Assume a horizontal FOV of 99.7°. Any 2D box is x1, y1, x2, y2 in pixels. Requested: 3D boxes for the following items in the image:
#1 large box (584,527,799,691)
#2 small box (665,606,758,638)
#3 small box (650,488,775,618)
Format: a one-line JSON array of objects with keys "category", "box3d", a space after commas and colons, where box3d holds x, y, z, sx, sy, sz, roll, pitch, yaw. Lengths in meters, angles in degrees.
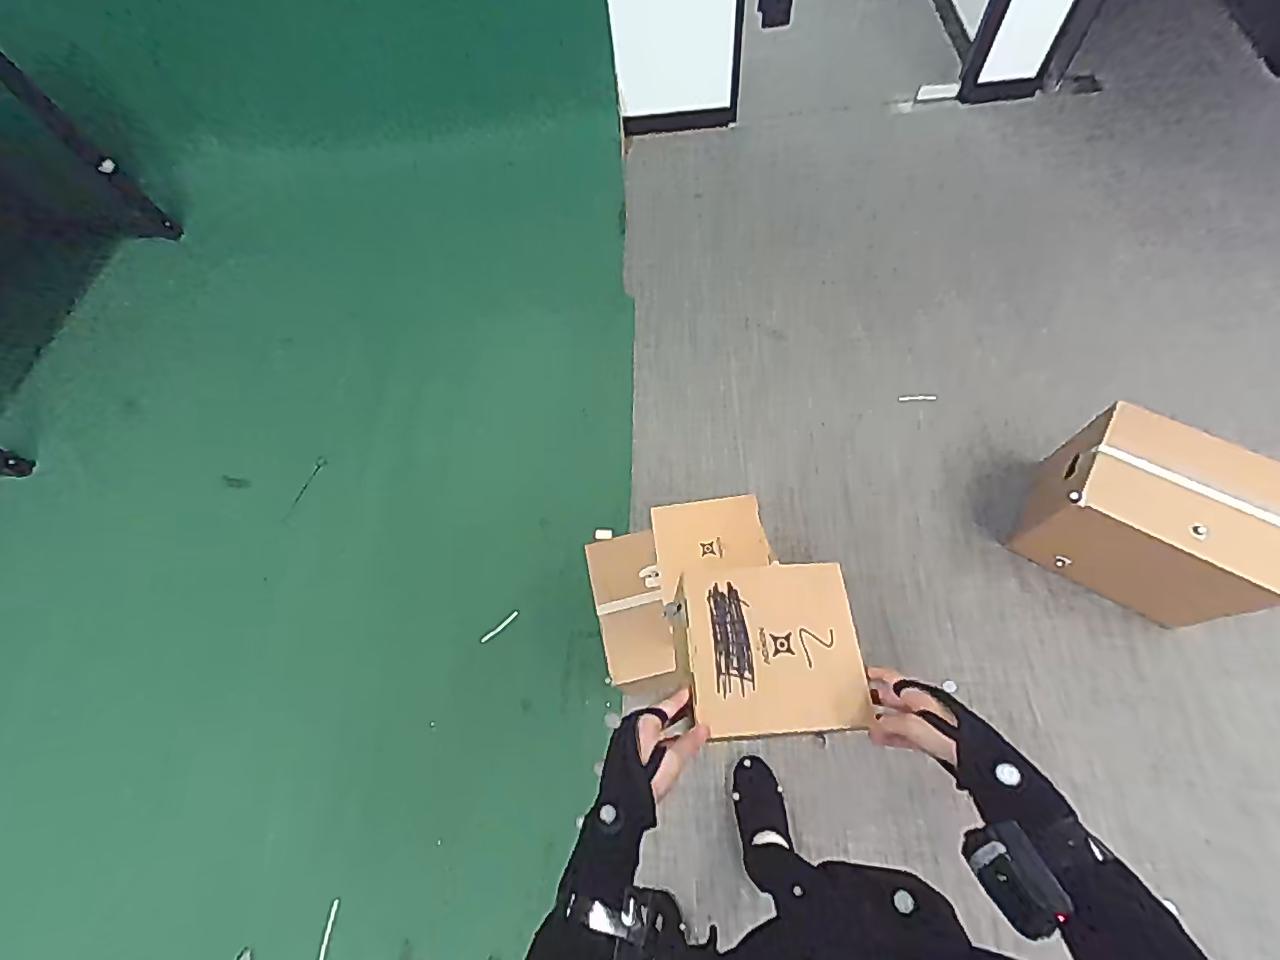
[{"category": "large box", "box3d": [0.114, 0.290, 1.291, 0.408, 0.320, 0.320, -14, 63, 0]}, {"category": "small box", "box3d": [0.126, 0.206, 1.056, 0.168, 0.176, 0.179, -8, 65, 0]}, {"category": "small box", "box3d": [0.116, 0.130, 0.913, 0.179, 0.176, 0.168, -7, 65, 1]}]
